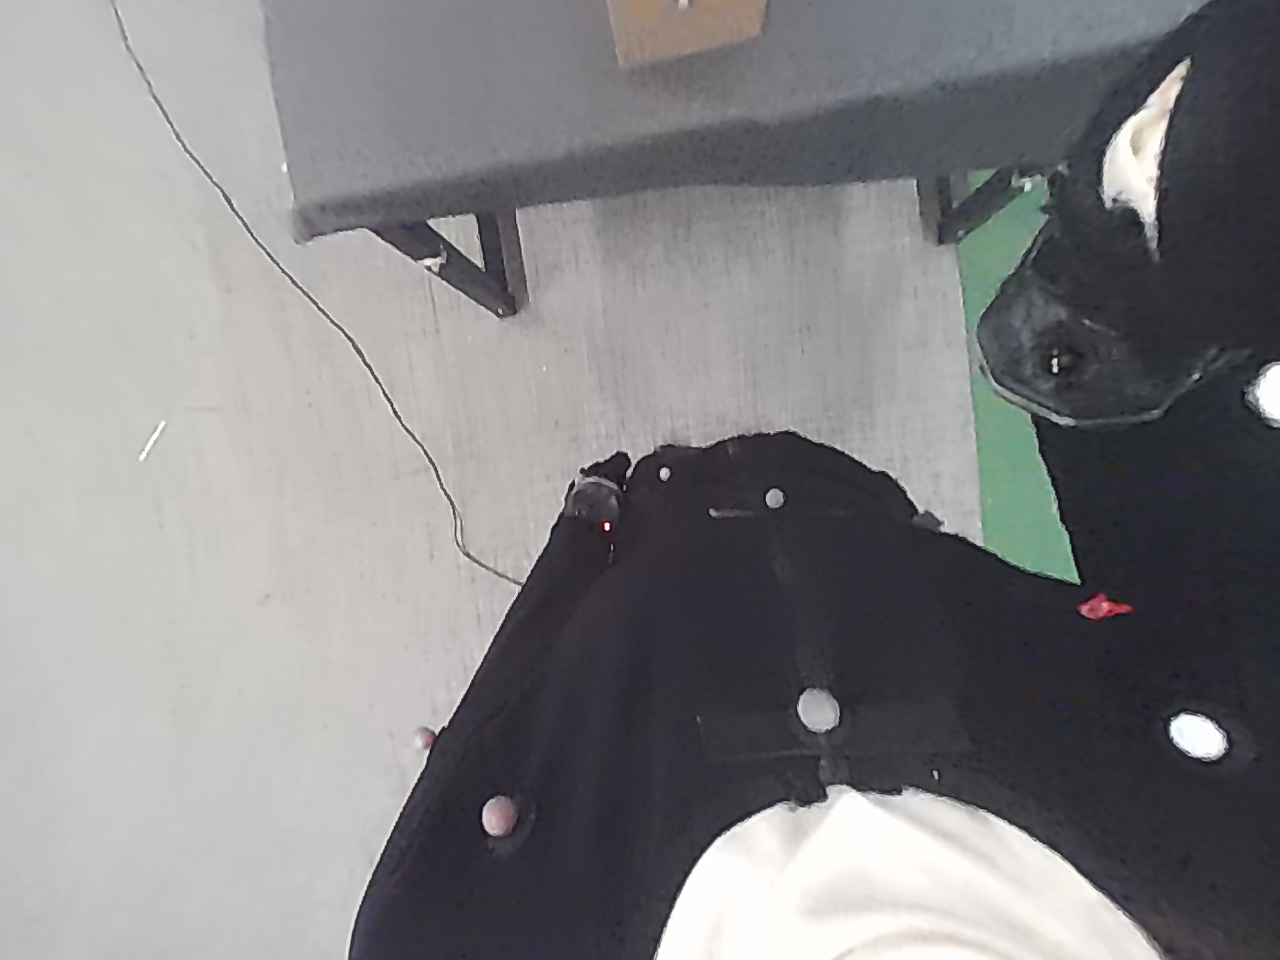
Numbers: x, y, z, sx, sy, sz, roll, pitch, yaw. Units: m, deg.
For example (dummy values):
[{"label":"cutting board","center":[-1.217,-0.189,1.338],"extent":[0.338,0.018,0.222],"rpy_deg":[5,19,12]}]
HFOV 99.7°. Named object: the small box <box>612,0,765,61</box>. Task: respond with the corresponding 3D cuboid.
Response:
[{"label":"small box","center":[0.047,-0.601,0.578],"extent":[0.179,0.176,0.168],"rpy_deg":[-8,92,6]}]
